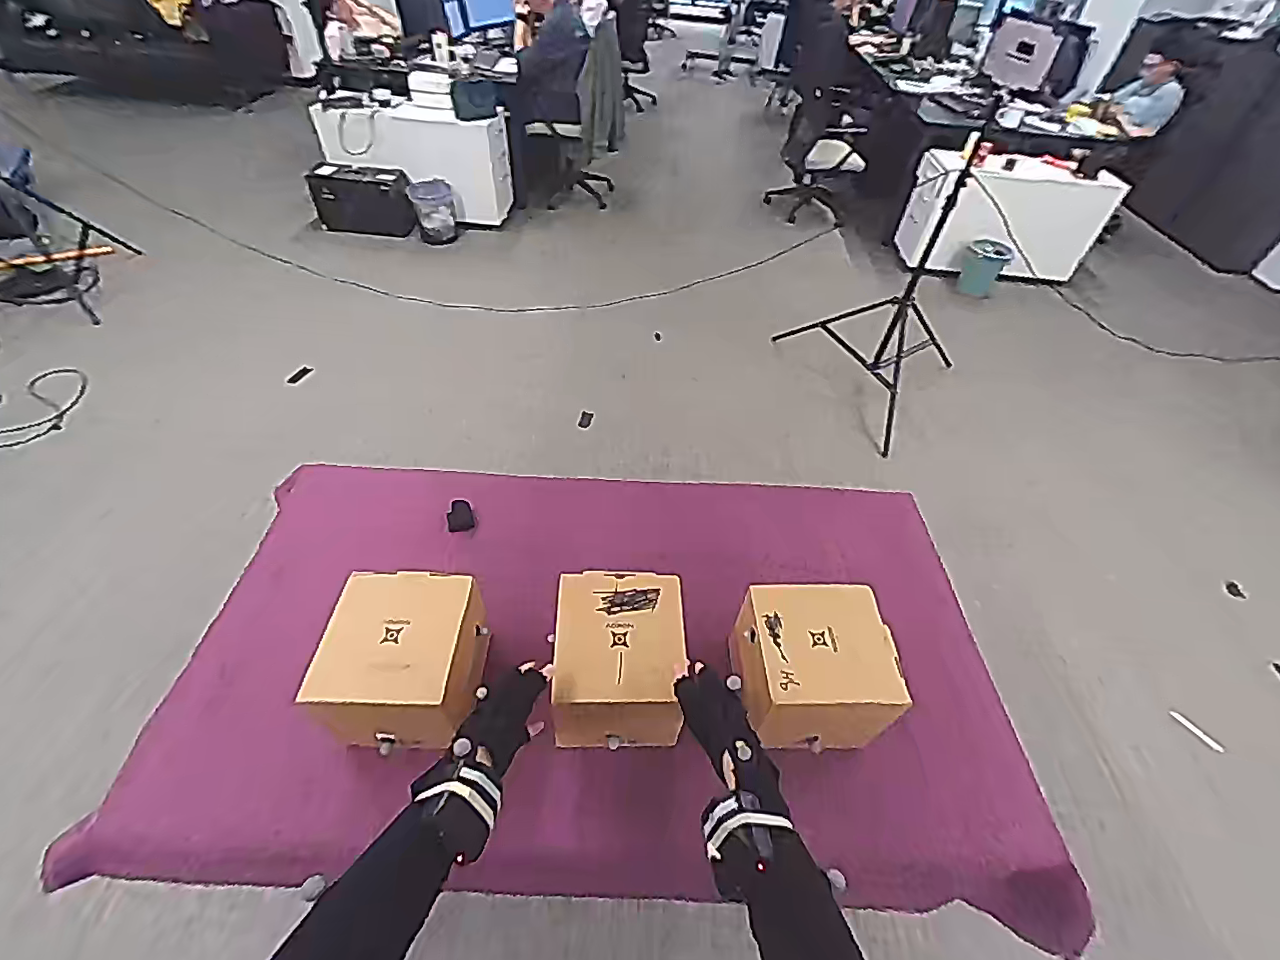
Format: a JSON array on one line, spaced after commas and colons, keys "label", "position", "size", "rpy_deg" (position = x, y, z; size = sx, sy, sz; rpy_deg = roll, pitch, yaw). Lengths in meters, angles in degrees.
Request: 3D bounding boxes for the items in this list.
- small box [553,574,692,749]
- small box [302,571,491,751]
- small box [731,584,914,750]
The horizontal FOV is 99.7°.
[{"label": "small box", "position": [-0.027, 0.249, 0.742], "size": [0.168, 0.176, 0.179], "rpy_deg": [1, 47, -3]}, {"label": "small box", "position": [-0.305, 0.243, 0.726], "size": [0.168, 0.176, 0.179], "rpy_deg": [2, 48, -1]}, {"label": "small box", "position": [0.237, 0.262, 0.751], "size": [0.179, 0.176, 0.168], "rpy_deg": [2, 46, -3]}]
